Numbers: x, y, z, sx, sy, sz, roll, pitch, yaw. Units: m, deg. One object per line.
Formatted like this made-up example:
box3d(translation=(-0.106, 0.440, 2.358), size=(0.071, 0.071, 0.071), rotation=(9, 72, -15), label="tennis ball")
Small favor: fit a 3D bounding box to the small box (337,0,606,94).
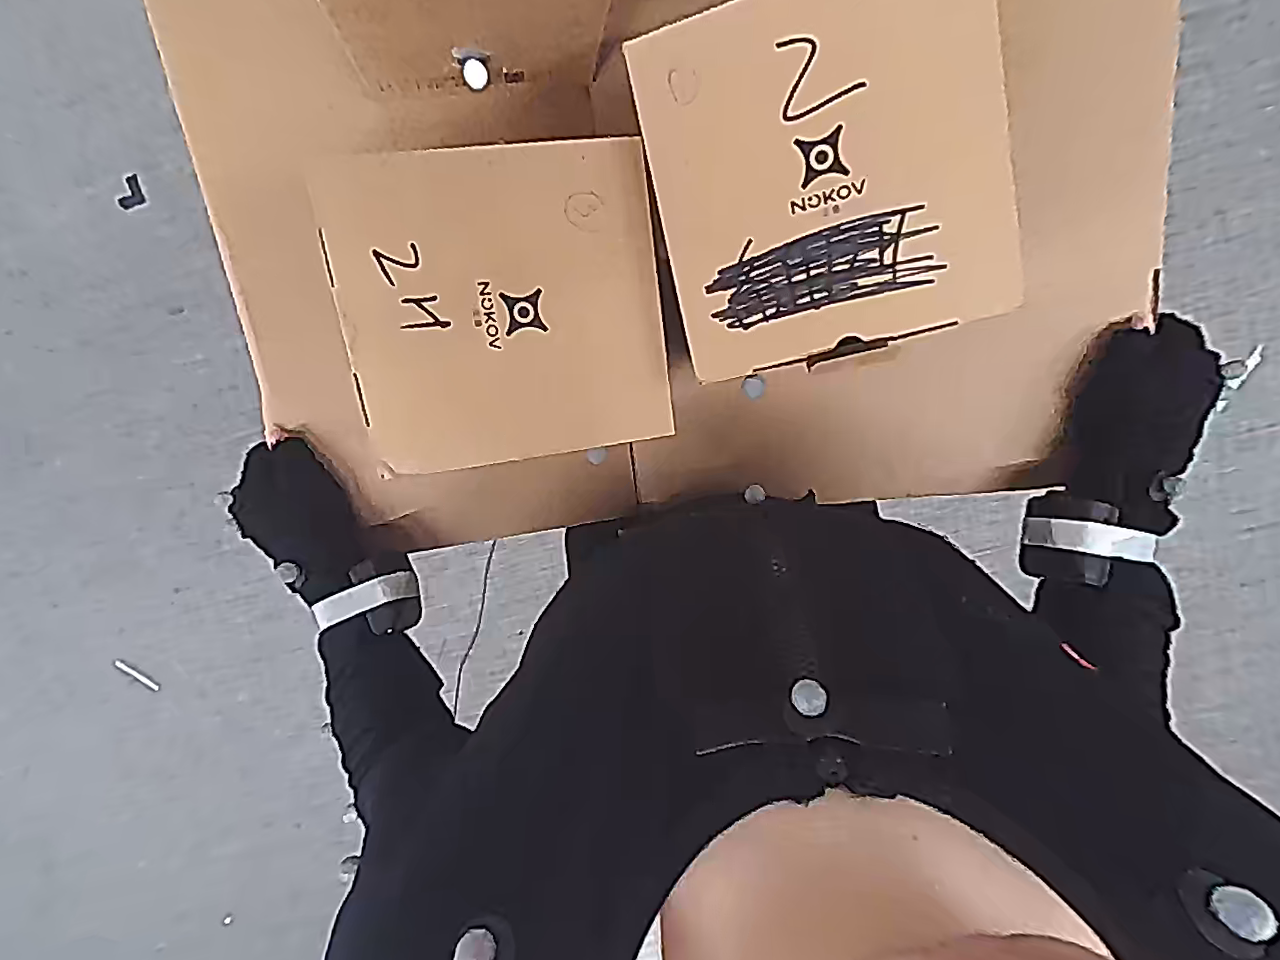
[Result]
box3d(translation=(-0.113, -0.369, 0.318), size=(0.168, 0.176, 0.179), rotation=(-11, 104, -8), label="small box")
